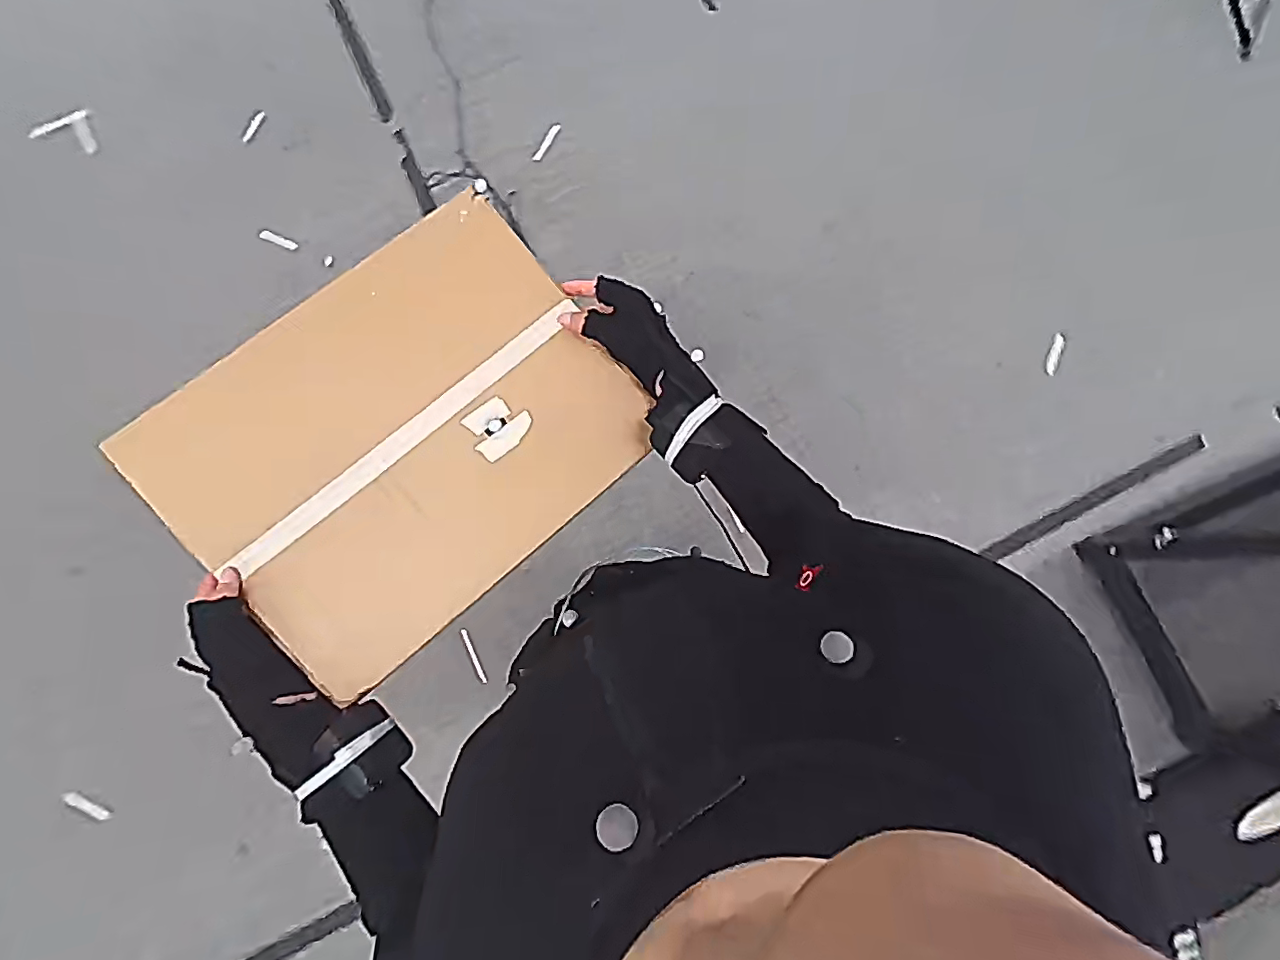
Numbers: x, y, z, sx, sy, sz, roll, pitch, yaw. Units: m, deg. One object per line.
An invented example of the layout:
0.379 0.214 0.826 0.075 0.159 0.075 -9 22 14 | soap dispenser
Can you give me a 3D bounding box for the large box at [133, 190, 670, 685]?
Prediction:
-0.234 -0.039 0.663 0.408 0.320 0.320 -40 93 -10 | large box
